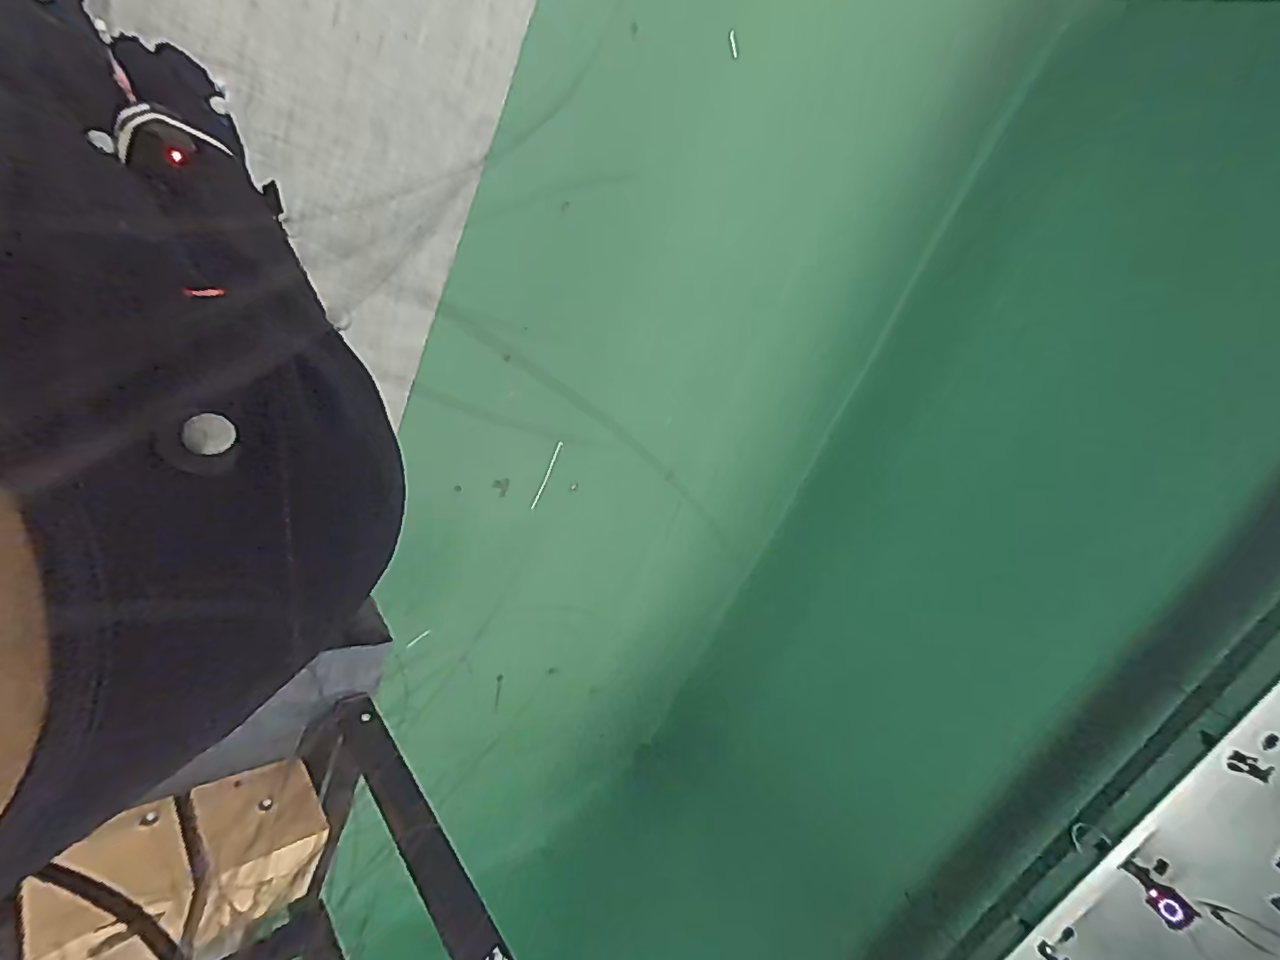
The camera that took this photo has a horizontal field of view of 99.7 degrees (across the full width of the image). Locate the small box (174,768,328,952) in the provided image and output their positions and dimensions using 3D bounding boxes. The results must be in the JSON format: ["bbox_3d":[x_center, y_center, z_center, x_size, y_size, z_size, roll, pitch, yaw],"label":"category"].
[{"bbox_3d":[-0.674,0.632,0.932,0.168,0.176,0.179,6,115,-51],"label":"small box"}]
